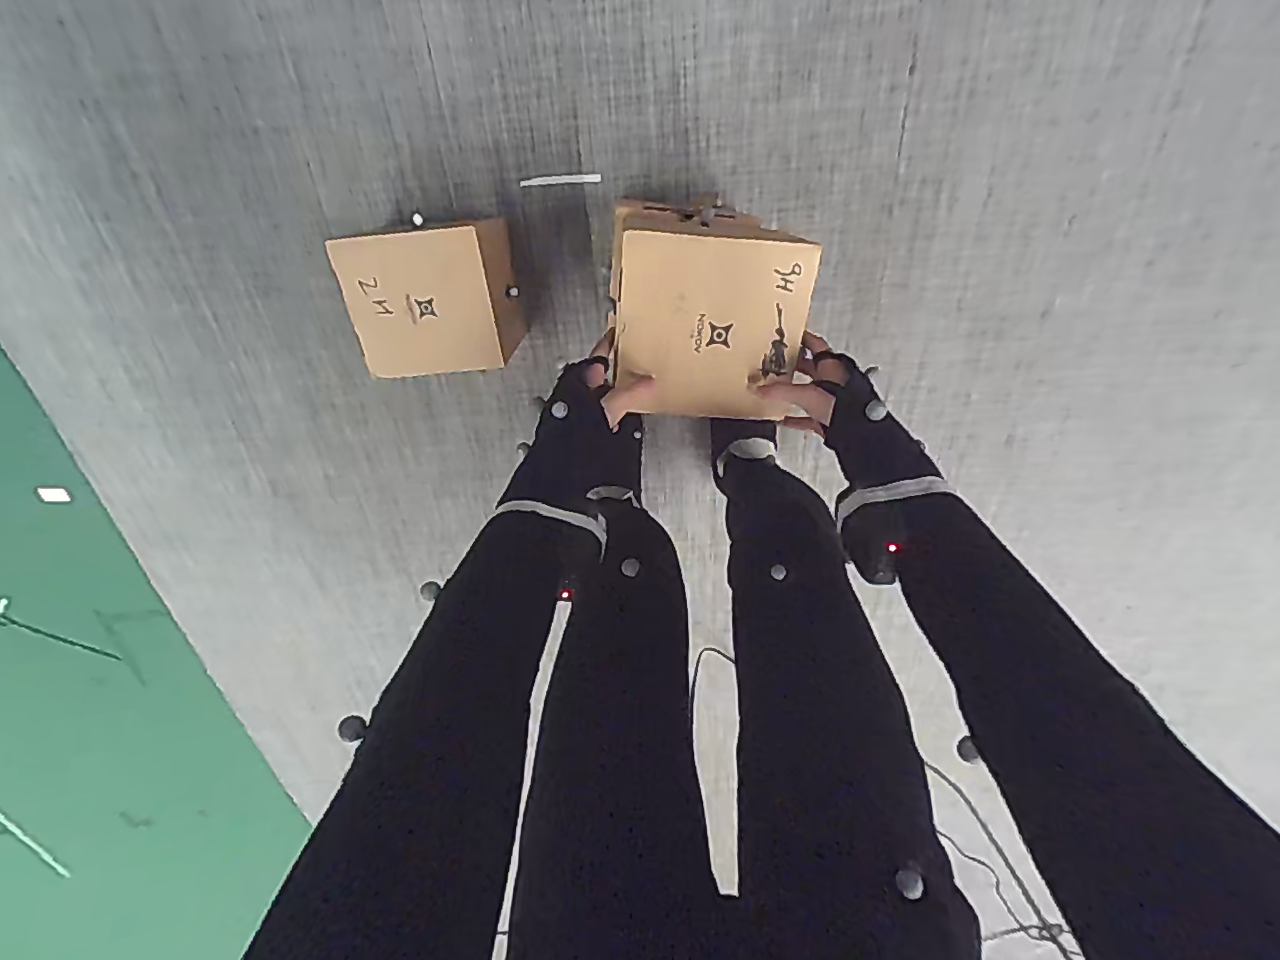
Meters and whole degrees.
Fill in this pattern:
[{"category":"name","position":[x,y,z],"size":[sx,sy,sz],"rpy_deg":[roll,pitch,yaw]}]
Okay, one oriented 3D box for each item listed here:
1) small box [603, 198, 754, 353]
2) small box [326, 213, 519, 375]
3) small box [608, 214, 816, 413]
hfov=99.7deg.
[{"category":"small box","position":[0.040,-0.268,0.715],"size":[0.168,0.176,0.179],"rpy_deg":[4,120,-3]},{"category":"small box","position":[-0.266,-0.252,0.717],"size":[0.179,0.176,0.168],"rpy_deg":[-5,120,2]},{"category":"small box","position":[0.059,-0.182,0.573],"size":[0.179,0.176,0.168],"rpy_deg":[3,119,-4]}]
